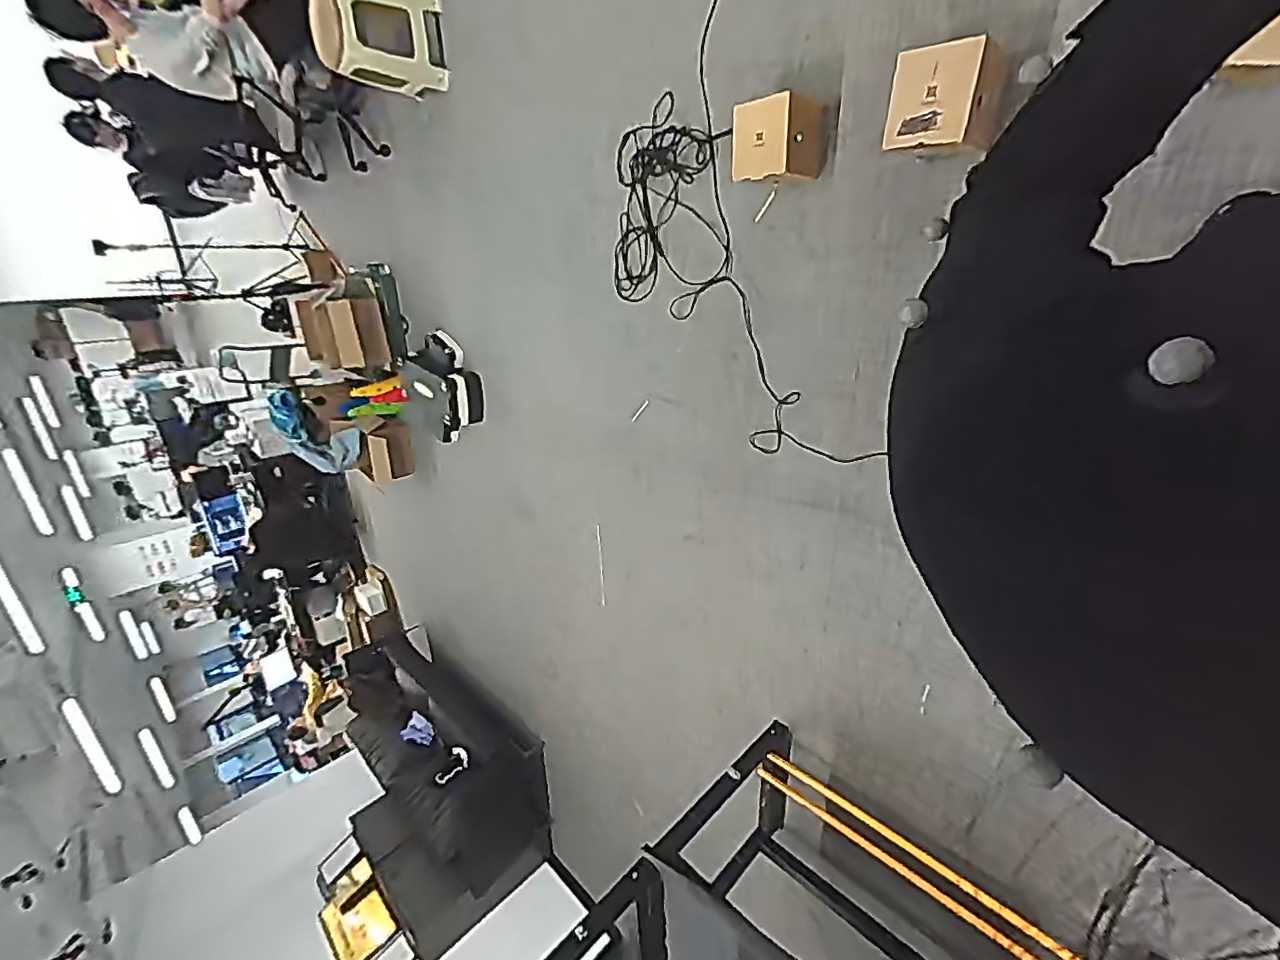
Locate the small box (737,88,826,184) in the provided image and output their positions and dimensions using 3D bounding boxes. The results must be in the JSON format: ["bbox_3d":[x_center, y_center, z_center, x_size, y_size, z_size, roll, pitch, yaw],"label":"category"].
[{"bbox_3d":[0.371,-0.891,1.416,0.168,0.176,0.179,18,120,43],"label":"small box"}]

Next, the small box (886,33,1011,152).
[{"bbox_3d":[0.651,-0.801,1.140,0.168,0.176,0.179,24,123,40],"label":"small box"}]
